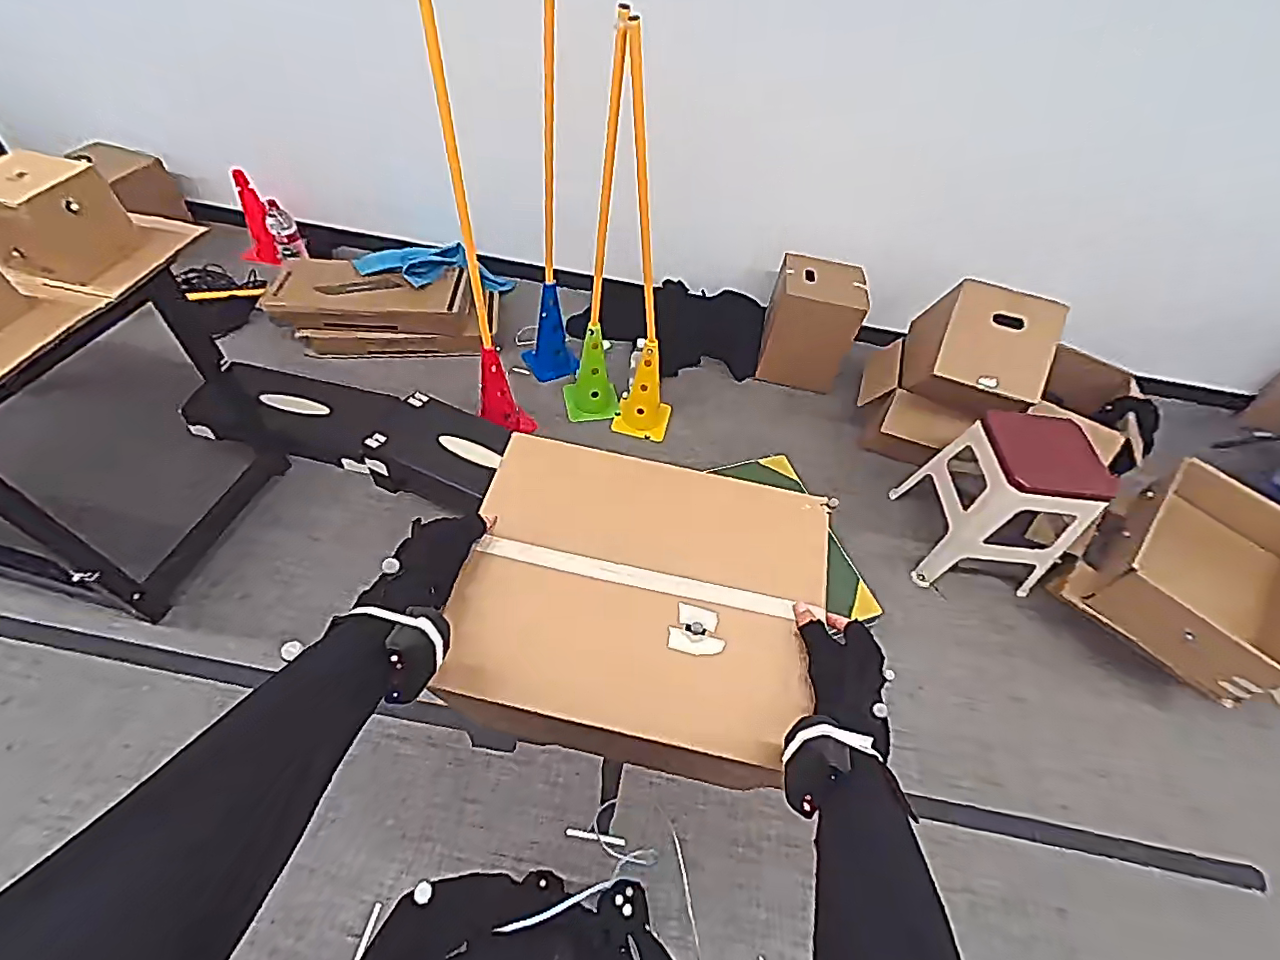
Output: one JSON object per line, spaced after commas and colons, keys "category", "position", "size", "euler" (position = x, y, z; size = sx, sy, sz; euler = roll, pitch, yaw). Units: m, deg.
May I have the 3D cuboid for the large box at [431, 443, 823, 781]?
{"category": "large box", "position": [-0.003, 0.192, 0.741], "size": [0.408, 0.320, 0.320], "euler": [13, 59, 3]}
